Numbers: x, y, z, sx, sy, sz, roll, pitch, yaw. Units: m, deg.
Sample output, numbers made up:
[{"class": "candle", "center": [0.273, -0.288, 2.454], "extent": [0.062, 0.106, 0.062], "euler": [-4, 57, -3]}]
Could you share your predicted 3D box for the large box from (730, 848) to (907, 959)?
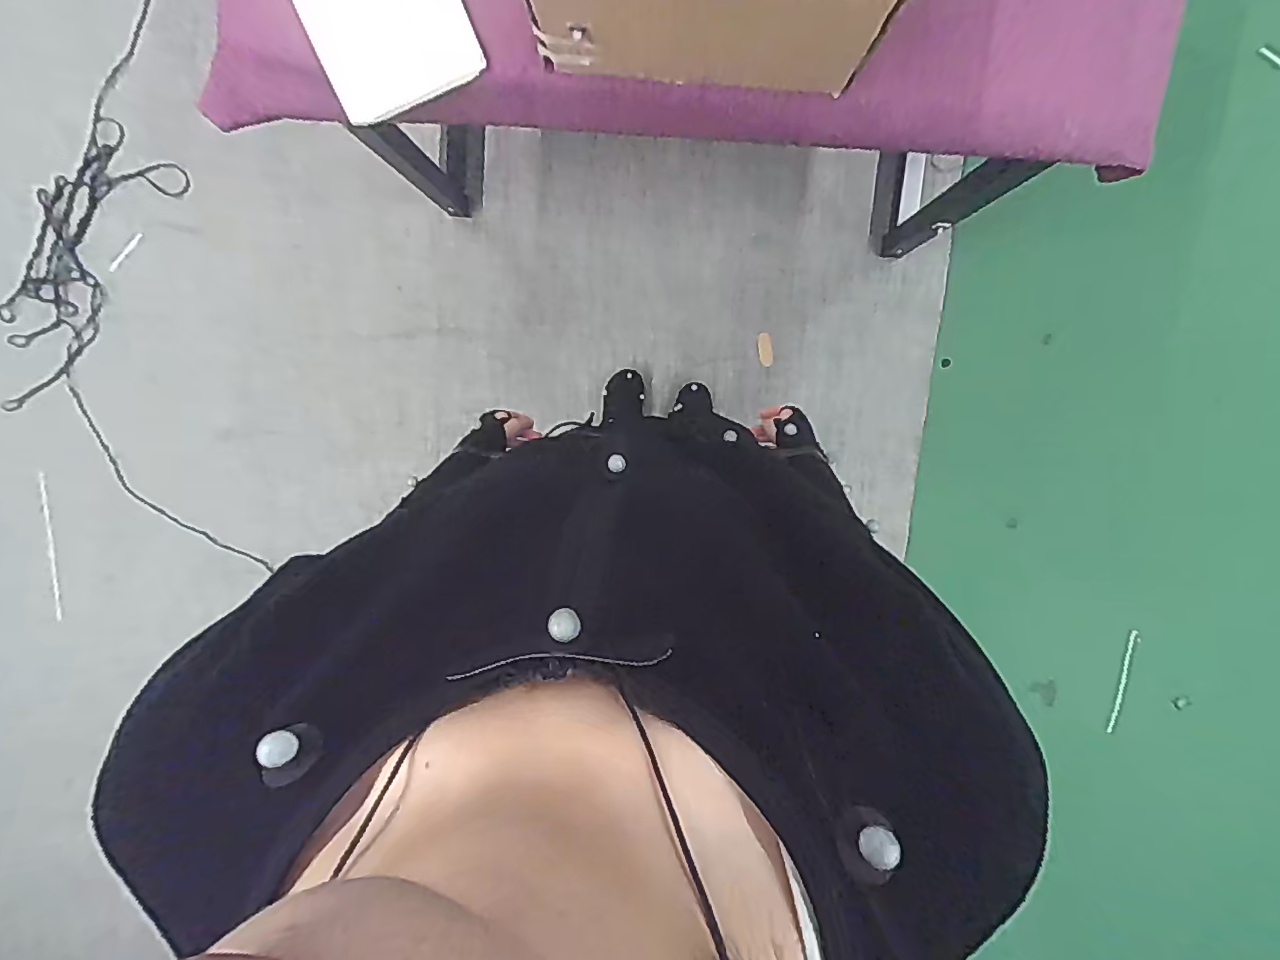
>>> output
[{"class": "large box", "center": [0.493, 1.314, 1.519], "extent": [0.408, 0.320, 0.320], "euler": [-10, 98, 3]}]
